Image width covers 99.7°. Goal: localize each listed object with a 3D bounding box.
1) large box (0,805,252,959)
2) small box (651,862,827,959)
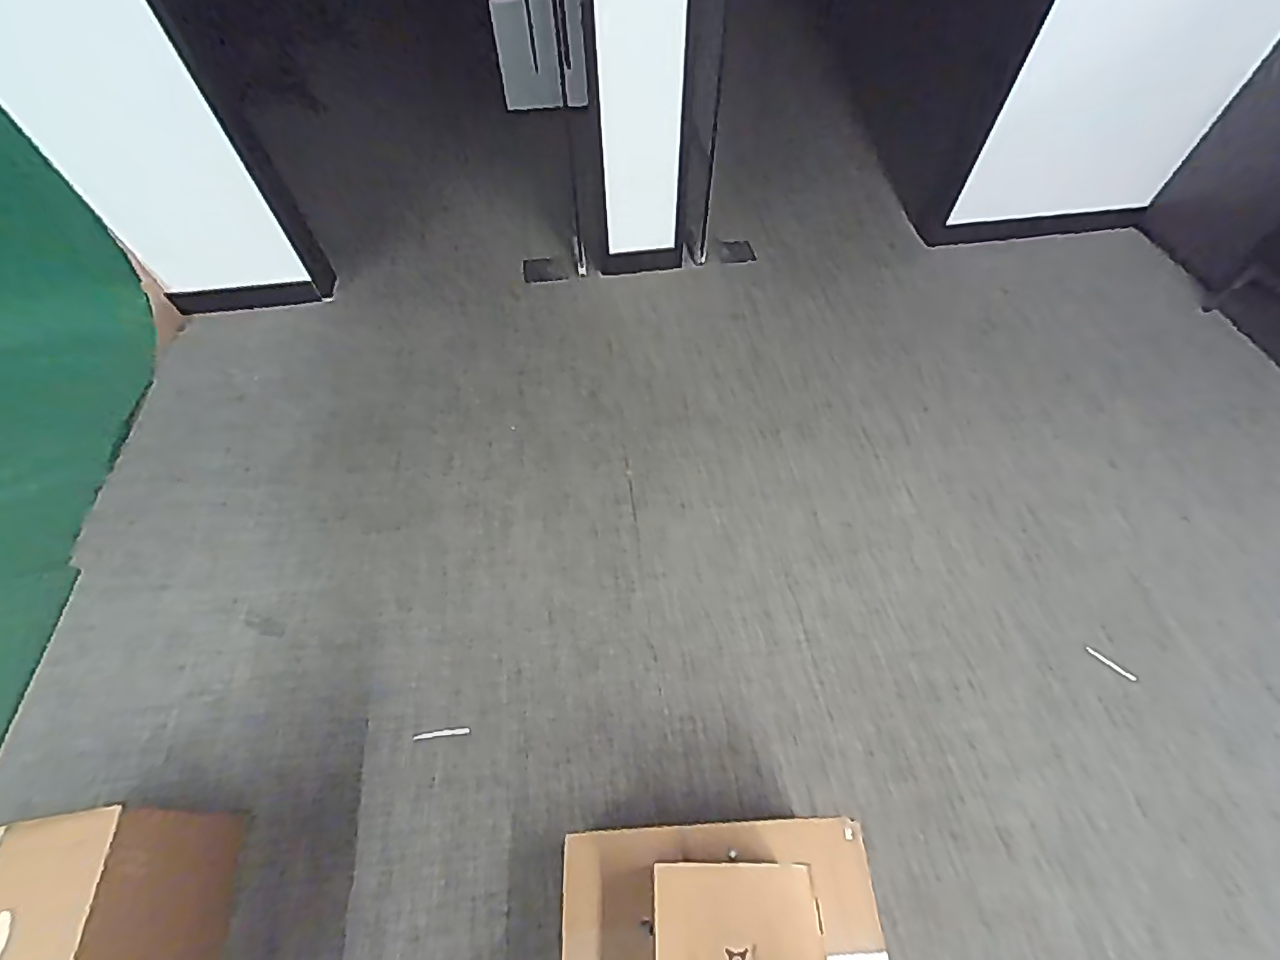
[{"bbox_3d":[-0.845,0.732,0.774,0.320,0.320,0.408,-8,55,-4],"label":"large box"},{"bbox_3d":[0.102,0.532,0.605,0.179,0.176,0.168,0,54,1],"label":"small box"}]
